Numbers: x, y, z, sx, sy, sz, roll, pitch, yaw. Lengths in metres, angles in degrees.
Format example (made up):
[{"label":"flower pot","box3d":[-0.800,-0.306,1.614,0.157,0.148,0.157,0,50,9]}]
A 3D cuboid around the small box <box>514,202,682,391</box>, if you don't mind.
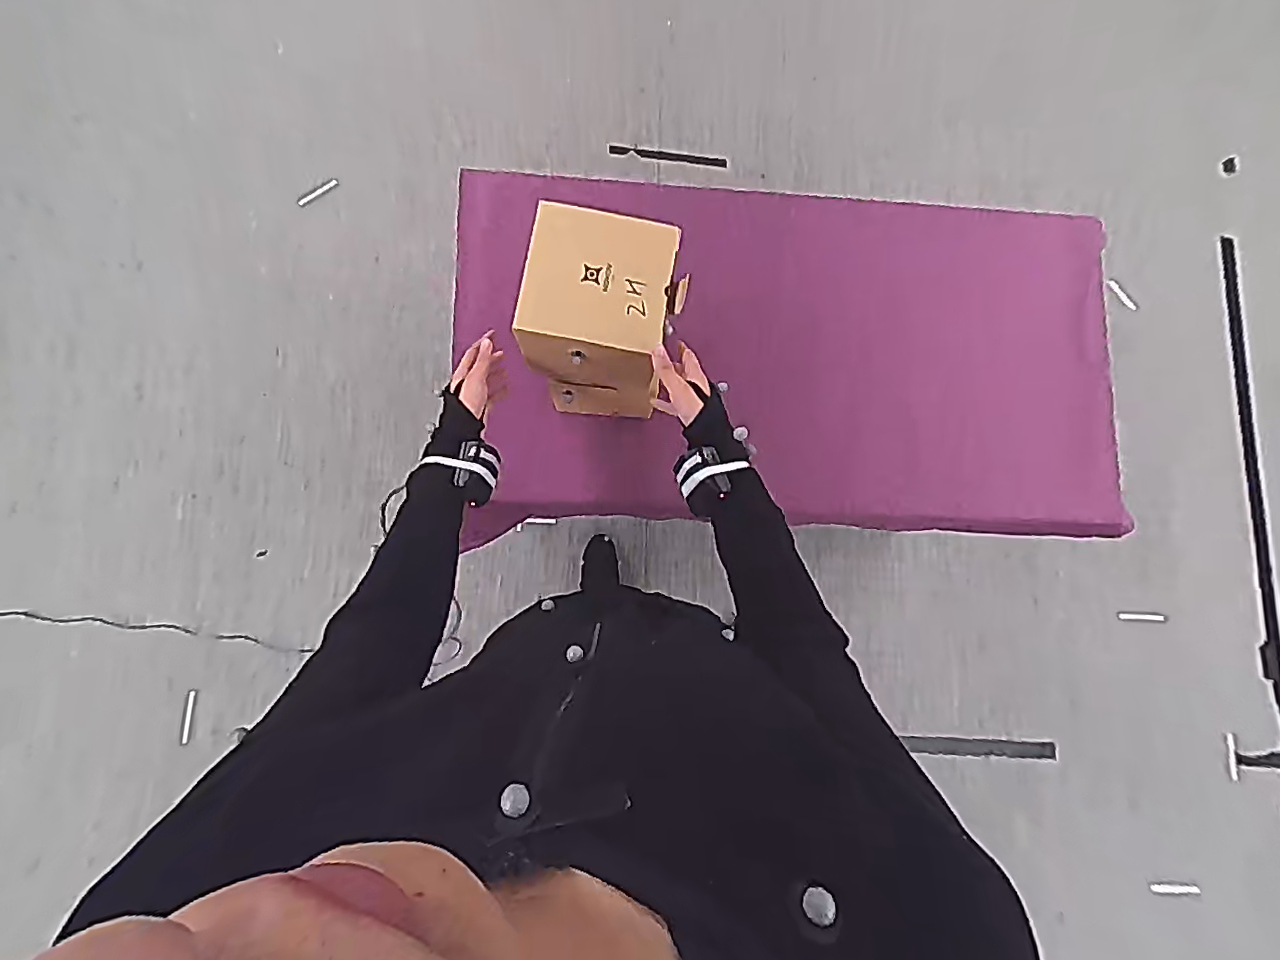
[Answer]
[{"label":"small box","box3d":[-0.053,-0.230,0.719,0.179,0.176,0.168,10,82,-3]}]
